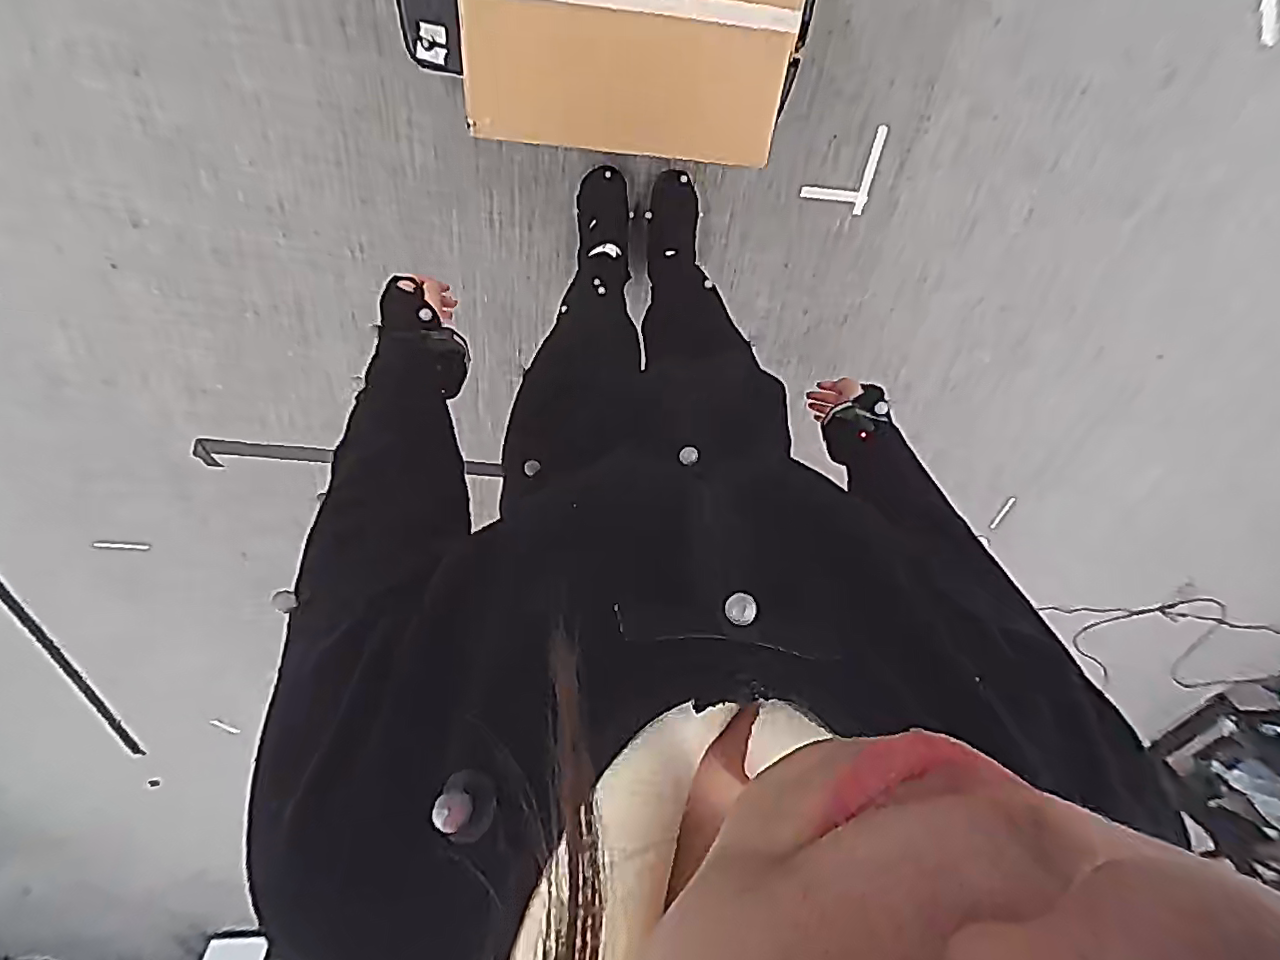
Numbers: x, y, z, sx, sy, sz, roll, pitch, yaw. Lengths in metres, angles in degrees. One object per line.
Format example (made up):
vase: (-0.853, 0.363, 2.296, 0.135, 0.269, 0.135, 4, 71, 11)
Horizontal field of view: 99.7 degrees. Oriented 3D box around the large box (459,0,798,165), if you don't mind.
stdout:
large box: (-0.017, -0.653, 0.748, 0.408, 0.320, 0.320, 3, 127, -6)
